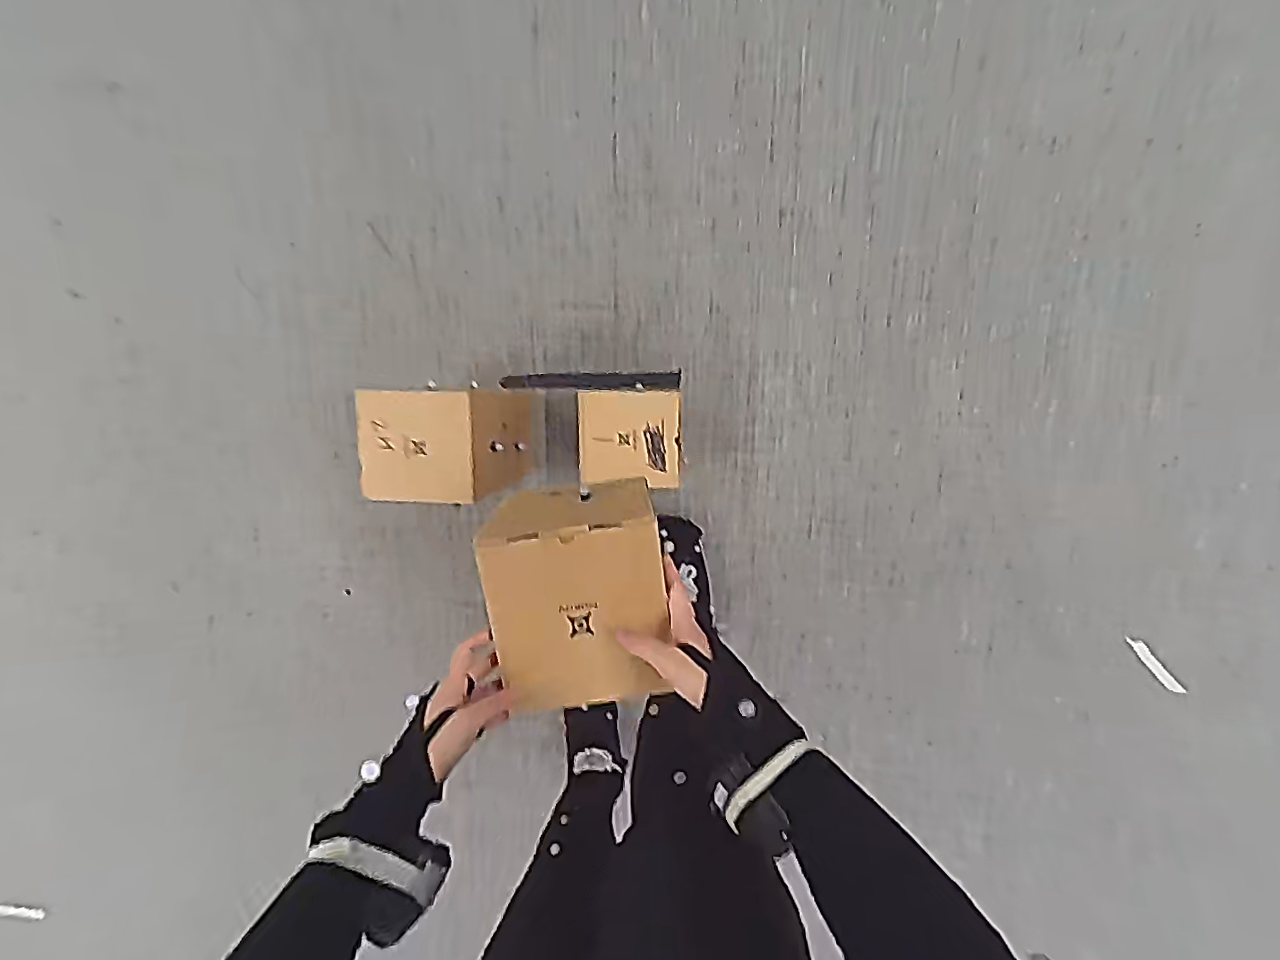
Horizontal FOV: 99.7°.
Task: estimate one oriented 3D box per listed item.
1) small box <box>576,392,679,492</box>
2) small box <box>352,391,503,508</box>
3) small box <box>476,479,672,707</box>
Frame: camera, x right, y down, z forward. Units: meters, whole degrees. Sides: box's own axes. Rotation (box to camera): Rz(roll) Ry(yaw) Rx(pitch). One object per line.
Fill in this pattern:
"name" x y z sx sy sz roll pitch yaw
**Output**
"small box" -0.017 -0.077 1.002 0.179 0.176 0.168 1 100 6
"small box" -0.325 -0.056 0.865 0.179 0.176 0.168 2 99 5
"small box" -0.061 0.109 0.582 0.168 0.176 0.179 -8 103 -2
